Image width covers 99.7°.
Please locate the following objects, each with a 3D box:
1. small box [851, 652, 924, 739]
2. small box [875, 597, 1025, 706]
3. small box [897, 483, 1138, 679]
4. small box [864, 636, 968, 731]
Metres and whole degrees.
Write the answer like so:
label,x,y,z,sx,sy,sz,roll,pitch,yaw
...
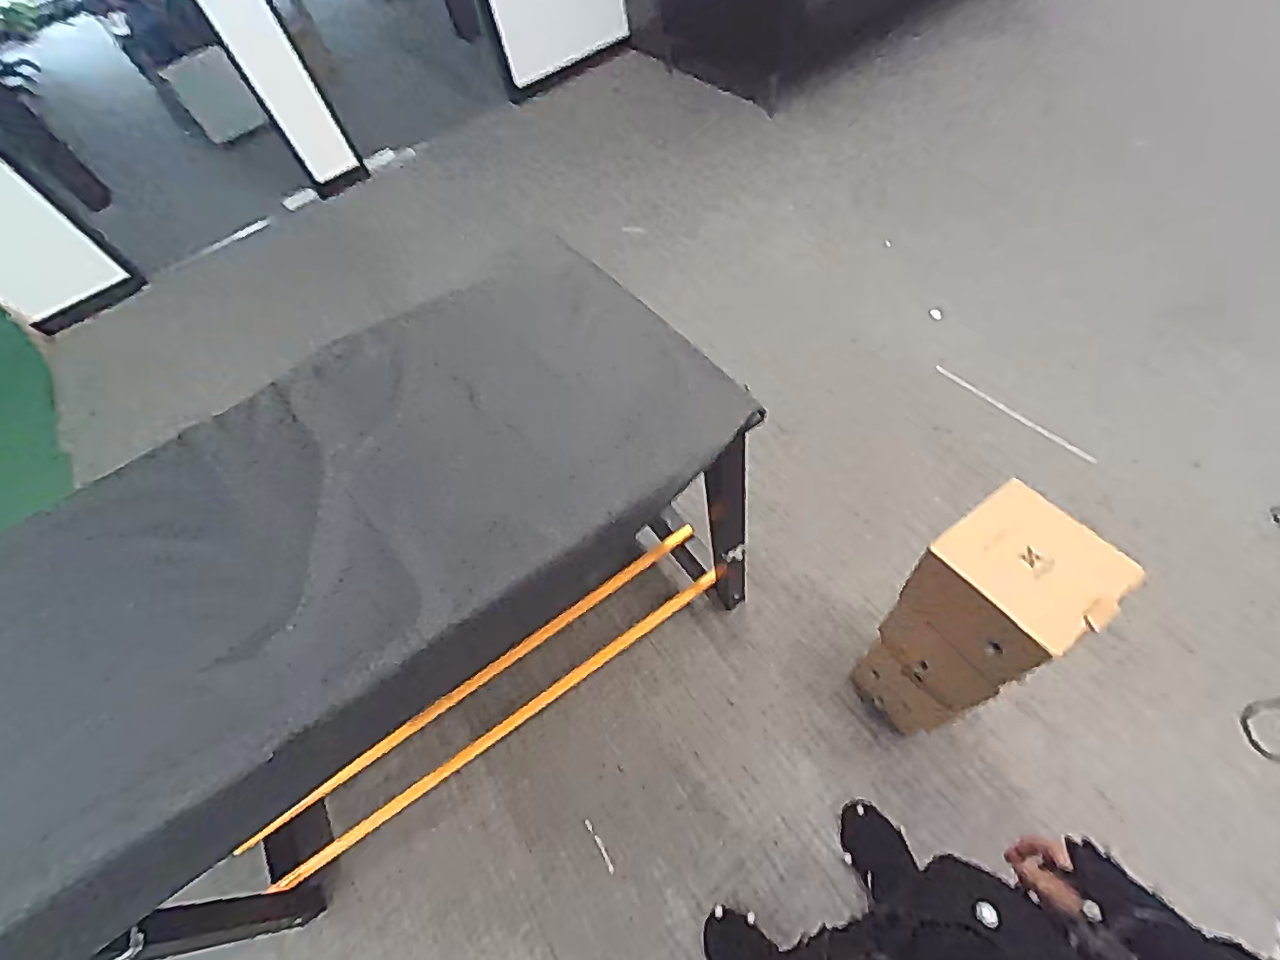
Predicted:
label,x,y,z,sx,sy,sz,roll,pitch,yaw
small box,0.570,0.410,1.132,0.179,0.176,0.168,-33,57,-11
small box,0.512,0.236,0.859,0.168,0.176,0.179,-33,59,-13
small box,0.486,0.144,0.728,0.168,0.176,0.179,-34,57,-13
small box,0.537,0.331,0.992,0.179,0.176,0.168,-35,58,-13
